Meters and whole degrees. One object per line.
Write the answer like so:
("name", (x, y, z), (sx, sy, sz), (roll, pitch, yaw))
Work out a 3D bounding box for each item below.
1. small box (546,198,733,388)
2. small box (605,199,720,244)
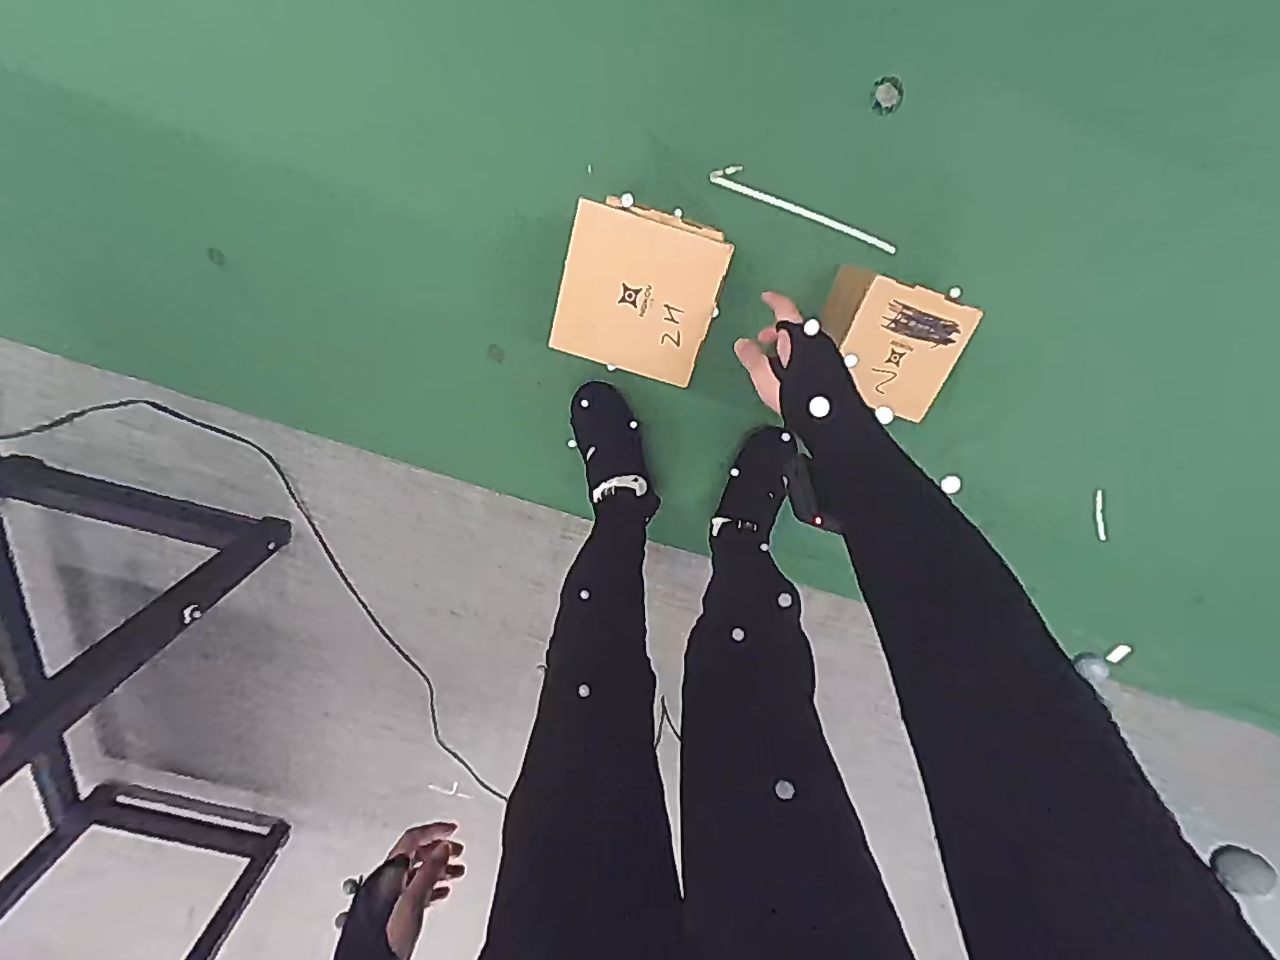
("small box", (0.000, -0.235, 0.679), (0.179, 0.176, 0.168), (16, 115, -4))
("small box", (0.014, -0.308, 0.827), (0.168, 0.176, 0.179), (16, 114, -3))
